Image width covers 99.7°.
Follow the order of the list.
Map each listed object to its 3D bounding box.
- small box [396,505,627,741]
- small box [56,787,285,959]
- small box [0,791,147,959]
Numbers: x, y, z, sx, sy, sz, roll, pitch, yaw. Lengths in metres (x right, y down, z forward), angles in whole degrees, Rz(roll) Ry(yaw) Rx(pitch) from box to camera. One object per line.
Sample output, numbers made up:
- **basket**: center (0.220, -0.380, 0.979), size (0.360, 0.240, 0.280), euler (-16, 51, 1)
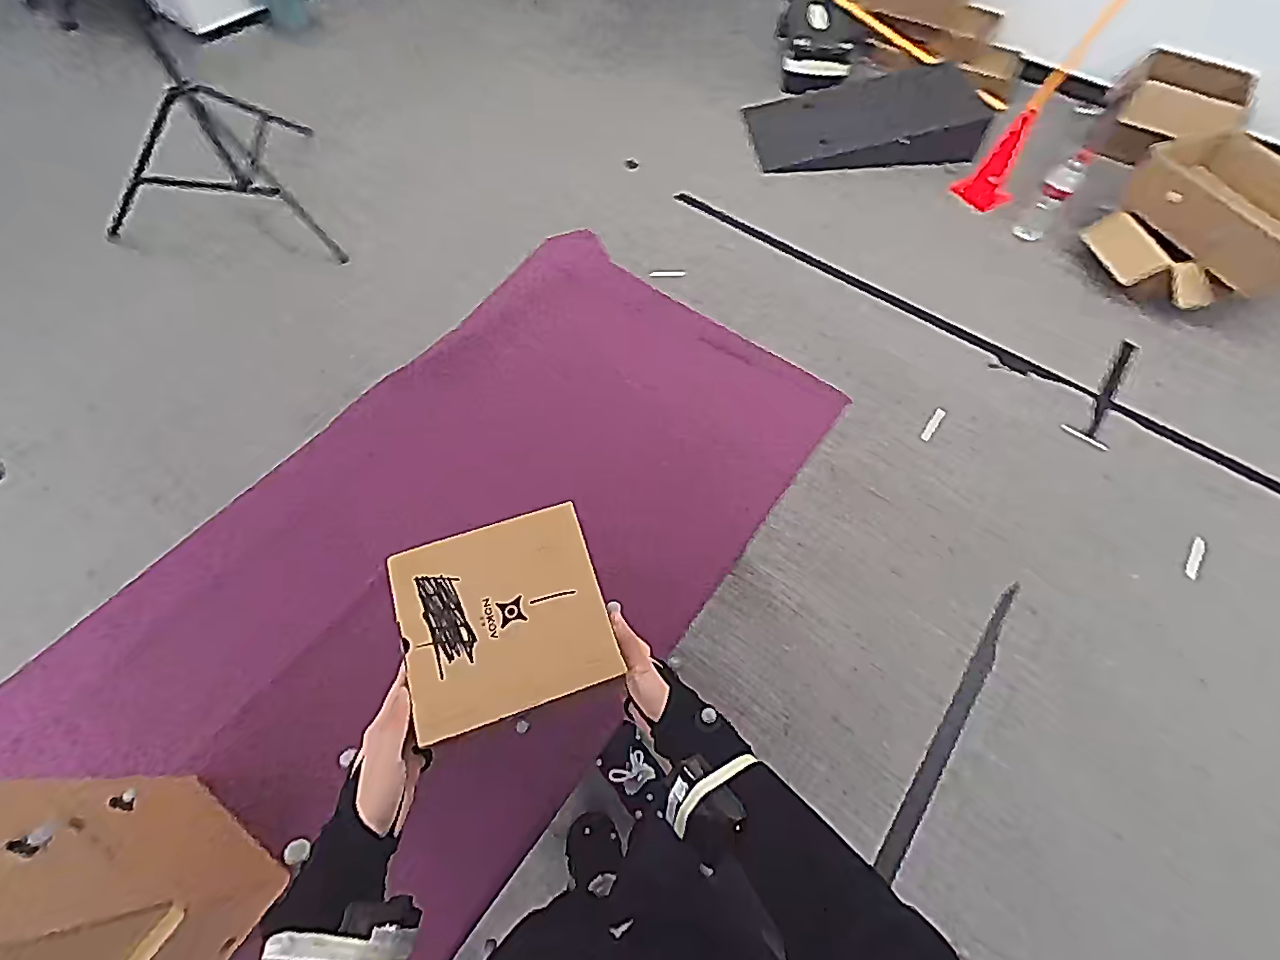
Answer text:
- **small box**: center (-0.117, 0.150, 0.544), size (0.179, 0.176, 0.168), euler (-16, 67, -9)
- **small box**: center (-0.484, 0.408, 0.499), size (0.179, 0.176, 0.168), euler (30, 65, 14)
- **small box**: center (-0.489, 0.330, 0.354), size (0.168, 0.176, 0.179), euler (29, 64, 14)
